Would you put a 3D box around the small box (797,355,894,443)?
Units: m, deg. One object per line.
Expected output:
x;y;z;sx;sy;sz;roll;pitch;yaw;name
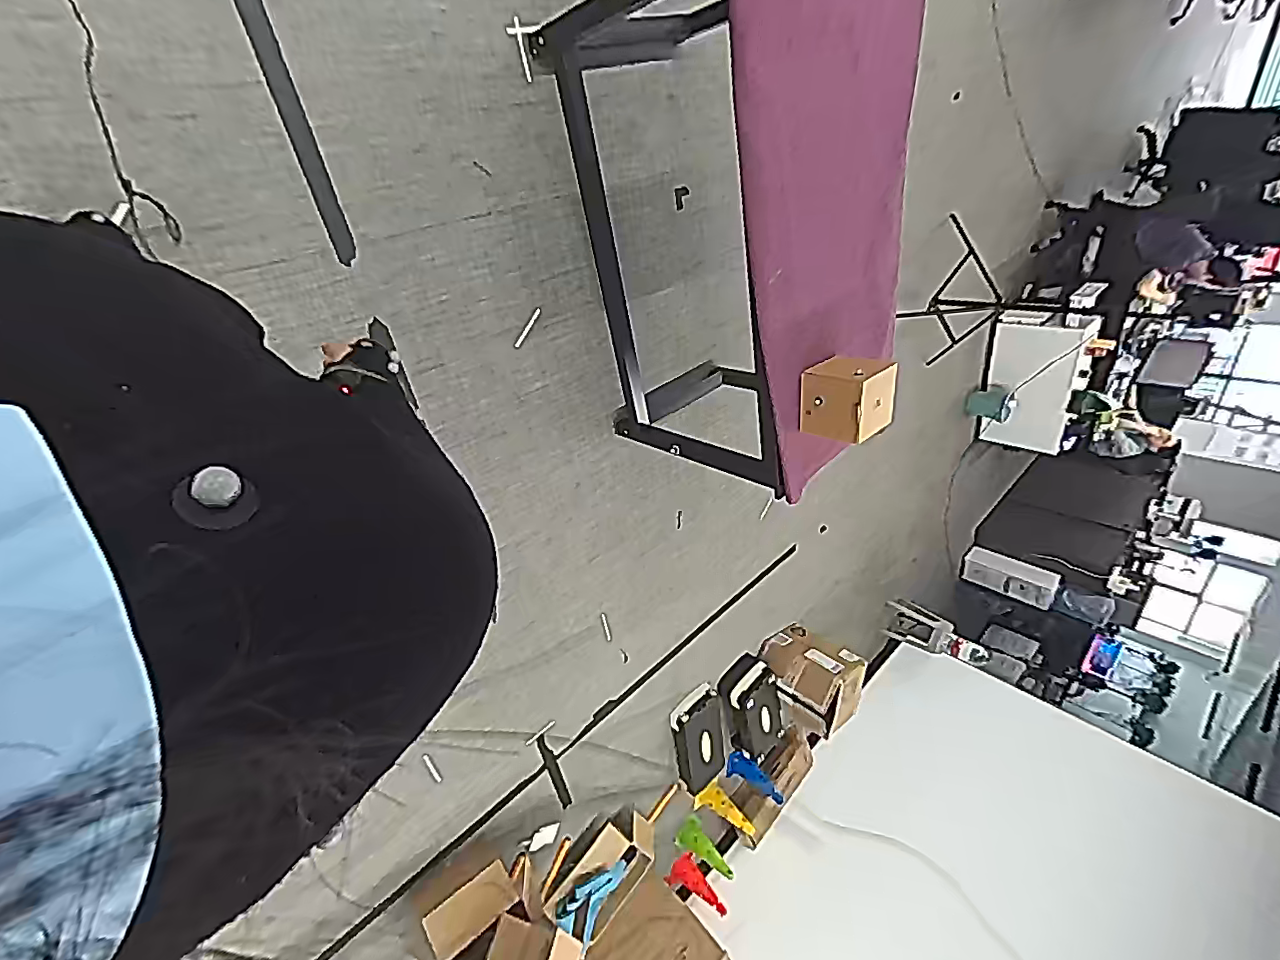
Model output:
0.531;-0.218;1.405;0.179;0.176;0.168;-28;124;-34;small box
